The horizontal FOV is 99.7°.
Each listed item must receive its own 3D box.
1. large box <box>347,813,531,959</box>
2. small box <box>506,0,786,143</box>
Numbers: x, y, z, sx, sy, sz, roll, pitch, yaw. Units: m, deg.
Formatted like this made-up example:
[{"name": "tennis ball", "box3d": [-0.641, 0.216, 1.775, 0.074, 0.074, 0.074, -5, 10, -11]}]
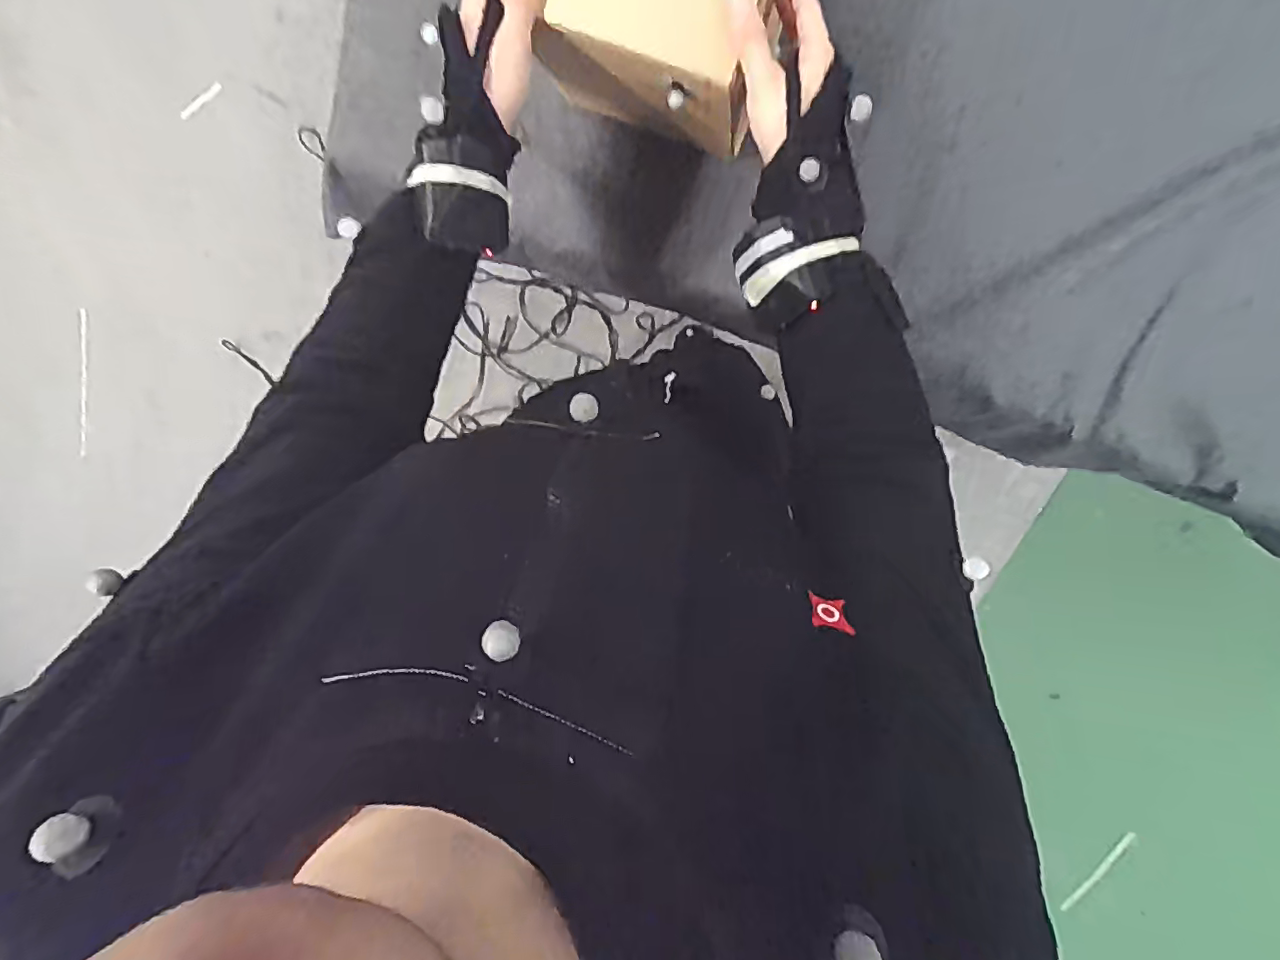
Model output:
[{"name": "large box", "box3d": [-0.625, 1.379, 1.728, 0.408, 0.320, 0.320, 29, 108, 3]}, {"name": "small box", "box3d": [0.018, -0.391, 0.413, 0.179, 0.176, 0.168, 21, 108, 3]}]
